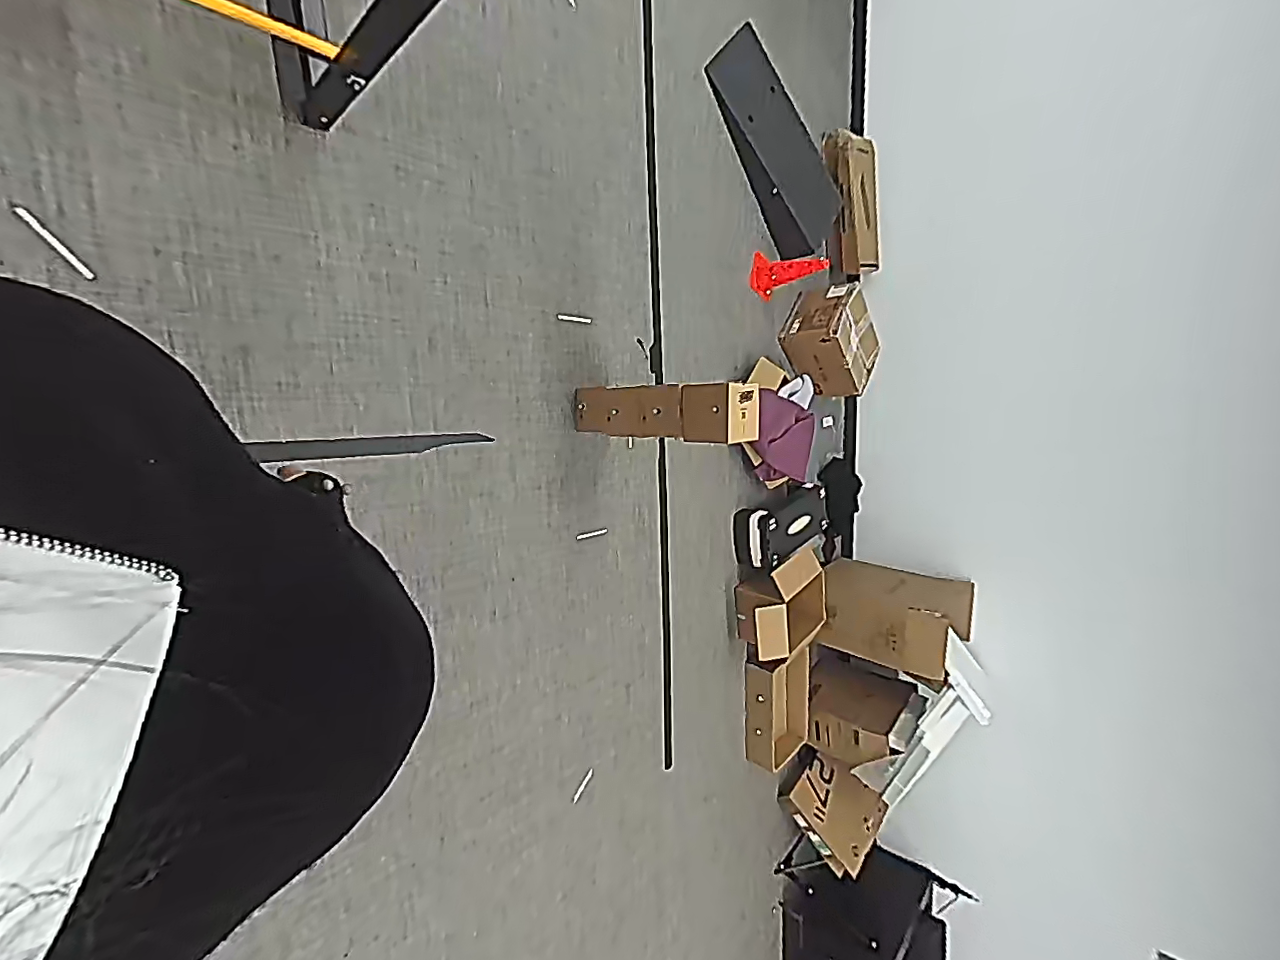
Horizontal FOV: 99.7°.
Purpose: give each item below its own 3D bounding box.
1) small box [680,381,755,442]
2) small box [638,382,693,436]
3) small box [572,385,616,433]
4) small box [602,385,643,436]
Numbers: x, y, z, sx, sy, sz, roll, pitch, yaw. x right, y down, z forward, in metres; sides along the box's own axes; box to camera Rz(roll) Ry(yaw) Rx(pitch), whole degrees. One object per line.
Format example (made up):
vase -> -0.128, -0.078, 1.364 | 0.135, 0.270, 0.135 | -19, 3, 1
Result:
small box -> 0.234, -0.207, 1.644 | 0.168, 0.176, 0.179 | -11, 102, -46
small box -> 0.106, -0.226, 1.748 | 0.179, 0.176, 0.168 | -8, 100, -46
small box -> -0.127, -0.260, 1.978 | 0.179, 0.176, 0.168 | -9, 101, -45
small box -> -0.012, -0.239, 1.861 | 0.179, 0.176, 0.168 | -9, 100, -46
